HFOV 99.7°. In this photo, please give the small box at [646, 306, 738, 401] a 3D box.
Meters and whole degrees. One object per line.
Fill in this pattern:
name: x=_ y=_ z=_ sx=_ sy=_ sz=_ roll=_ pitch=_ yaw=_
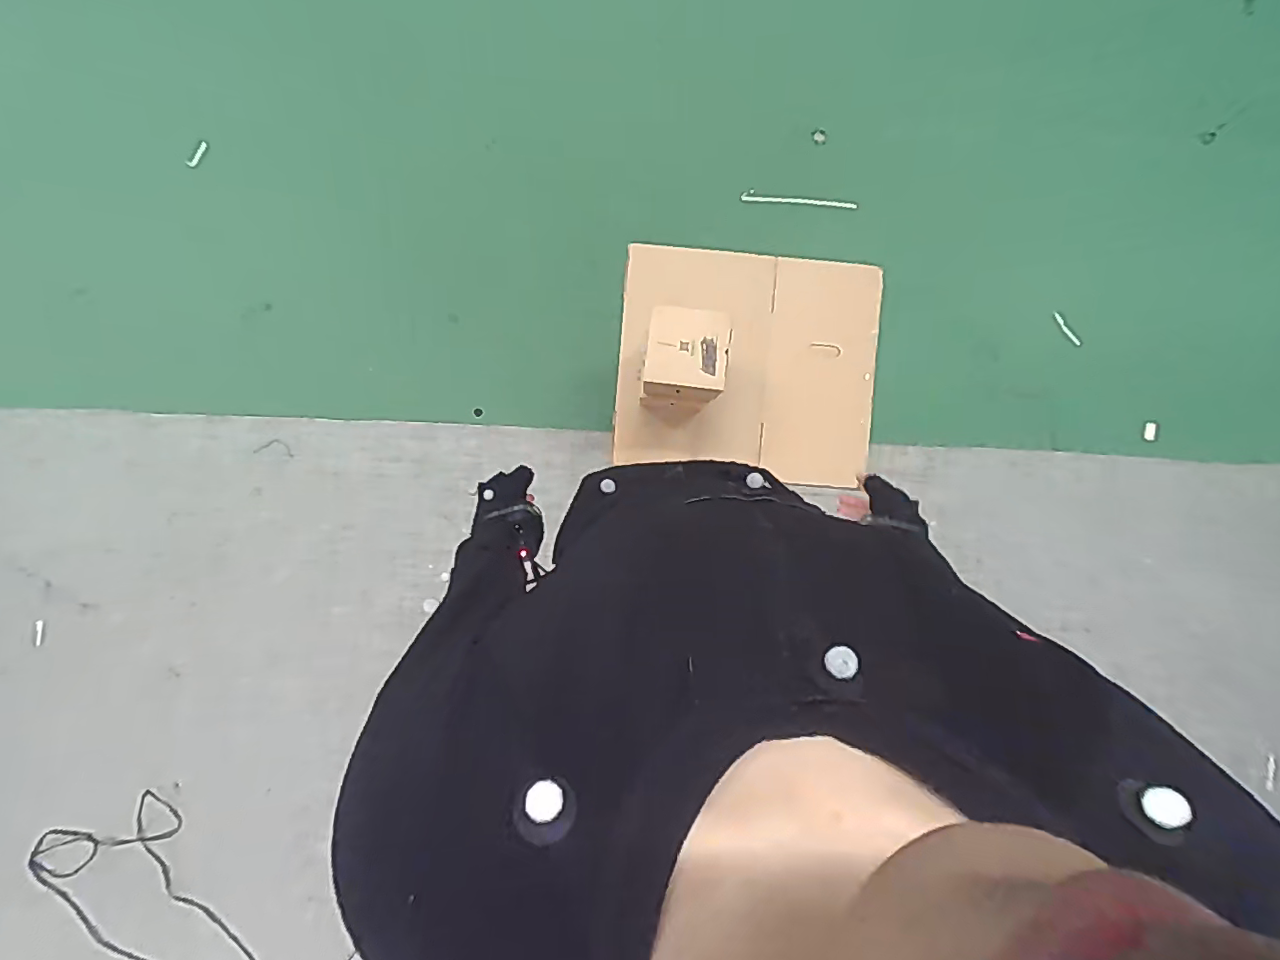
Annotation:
small box: x=0.110 y=-0.274 z=1.211 sx=0.179 sy=0.176 sz=0.168 roll=7 pitch=91 yaw=1
